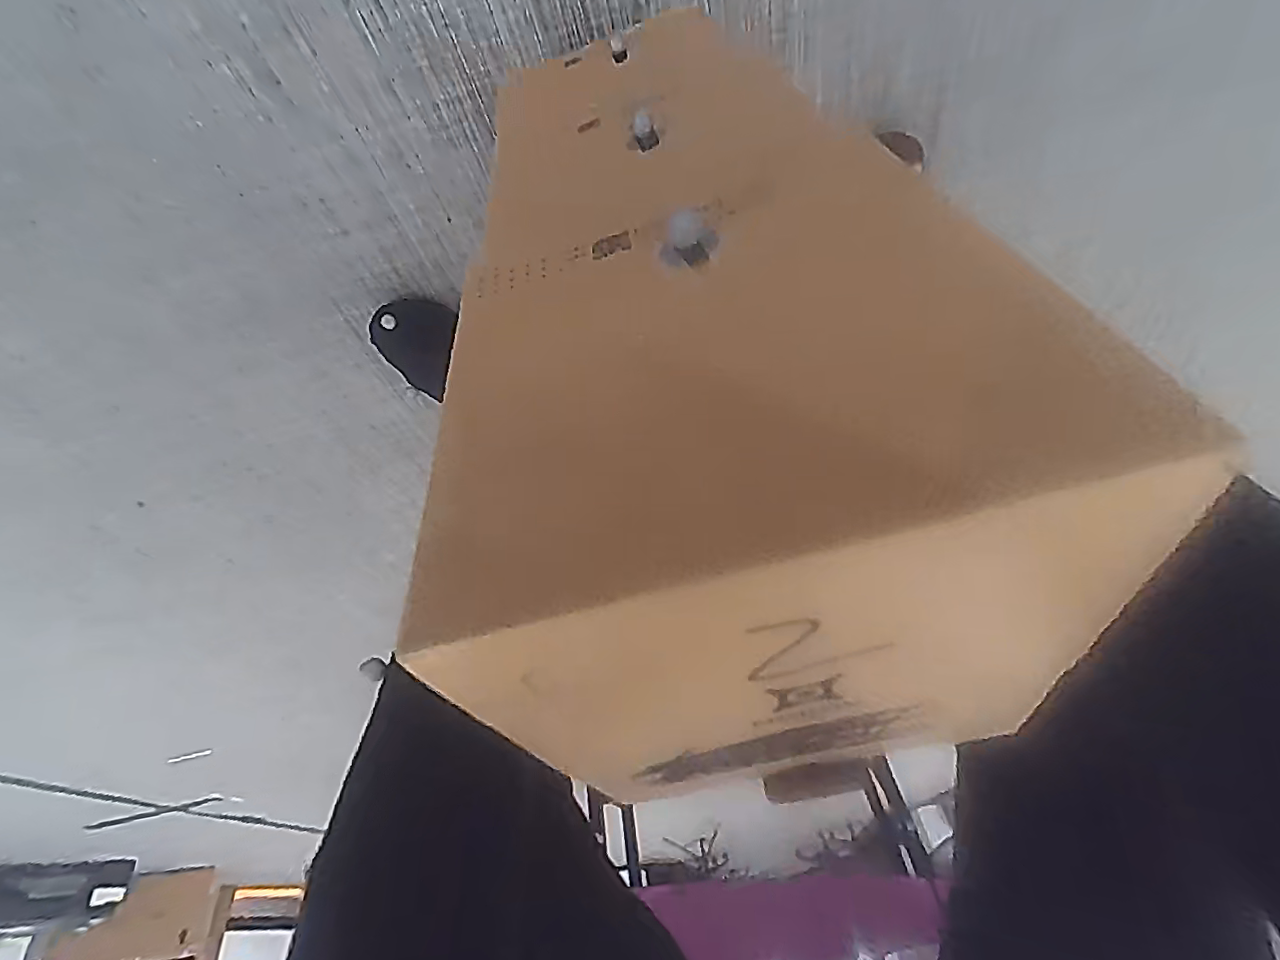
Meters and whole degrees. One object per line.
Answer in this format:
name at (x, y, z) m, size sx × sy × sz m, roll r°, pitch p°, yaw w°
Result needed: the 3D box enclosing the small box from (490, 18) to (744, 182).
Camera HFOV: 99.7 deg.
small box at (-0.004, -0.228, 0.441) m, size 0.168 × 0.176 × 0.179 m, roll -17°, pitch 138°, yaw 7°
